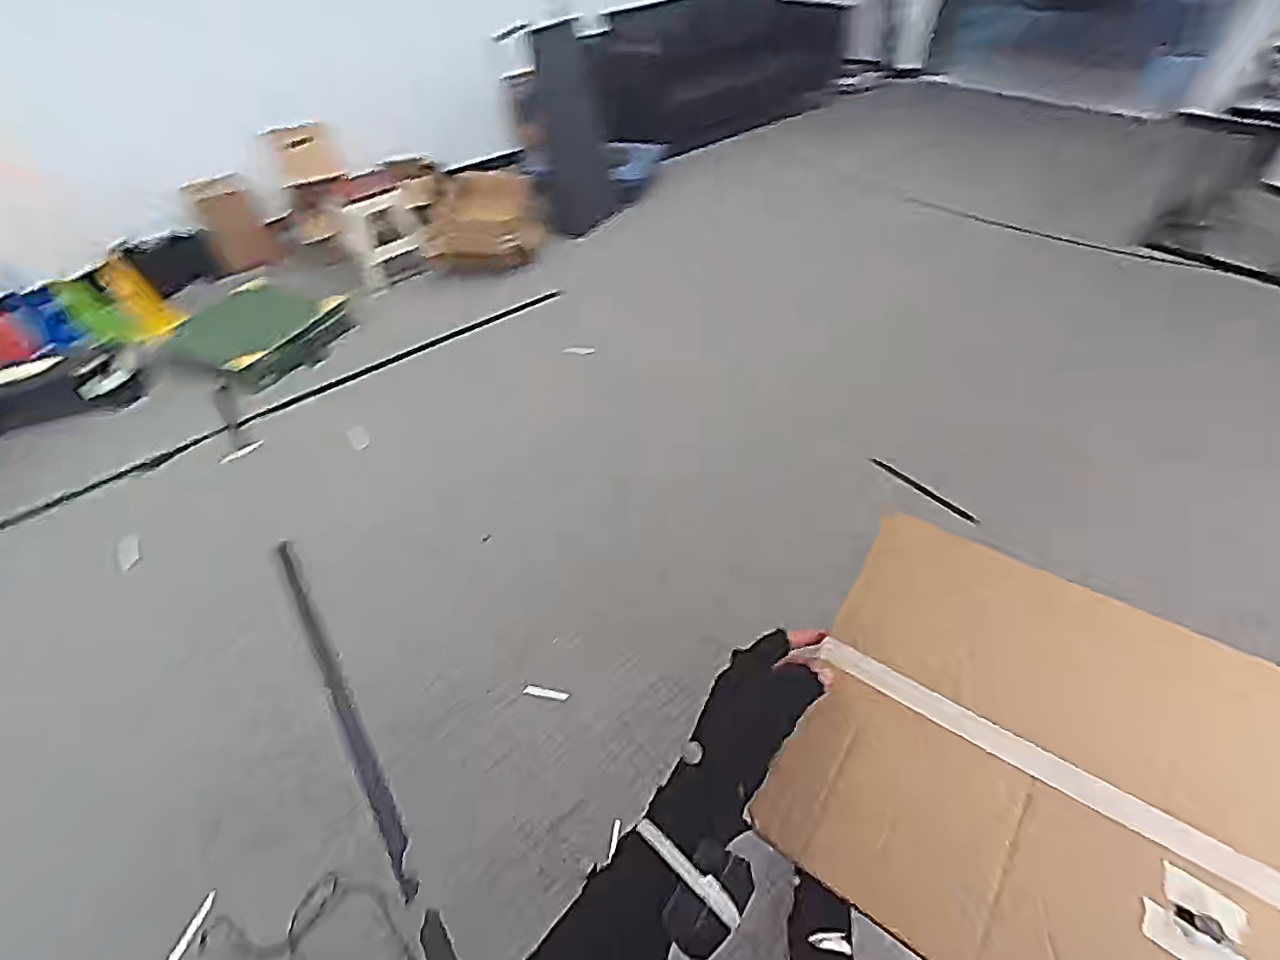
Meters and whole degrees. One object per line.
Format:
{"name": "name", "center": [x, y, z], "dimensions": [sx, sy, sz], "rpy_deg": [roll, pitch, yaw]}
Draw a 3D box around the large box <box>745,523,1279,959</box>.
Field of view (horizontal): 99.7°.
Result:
{"name": "large box", "center": [0.352, 0.307, 0.537], "dimensions": [0.408, 0.320, 0.320], "rpy_deg": [26, 68, 25]}
